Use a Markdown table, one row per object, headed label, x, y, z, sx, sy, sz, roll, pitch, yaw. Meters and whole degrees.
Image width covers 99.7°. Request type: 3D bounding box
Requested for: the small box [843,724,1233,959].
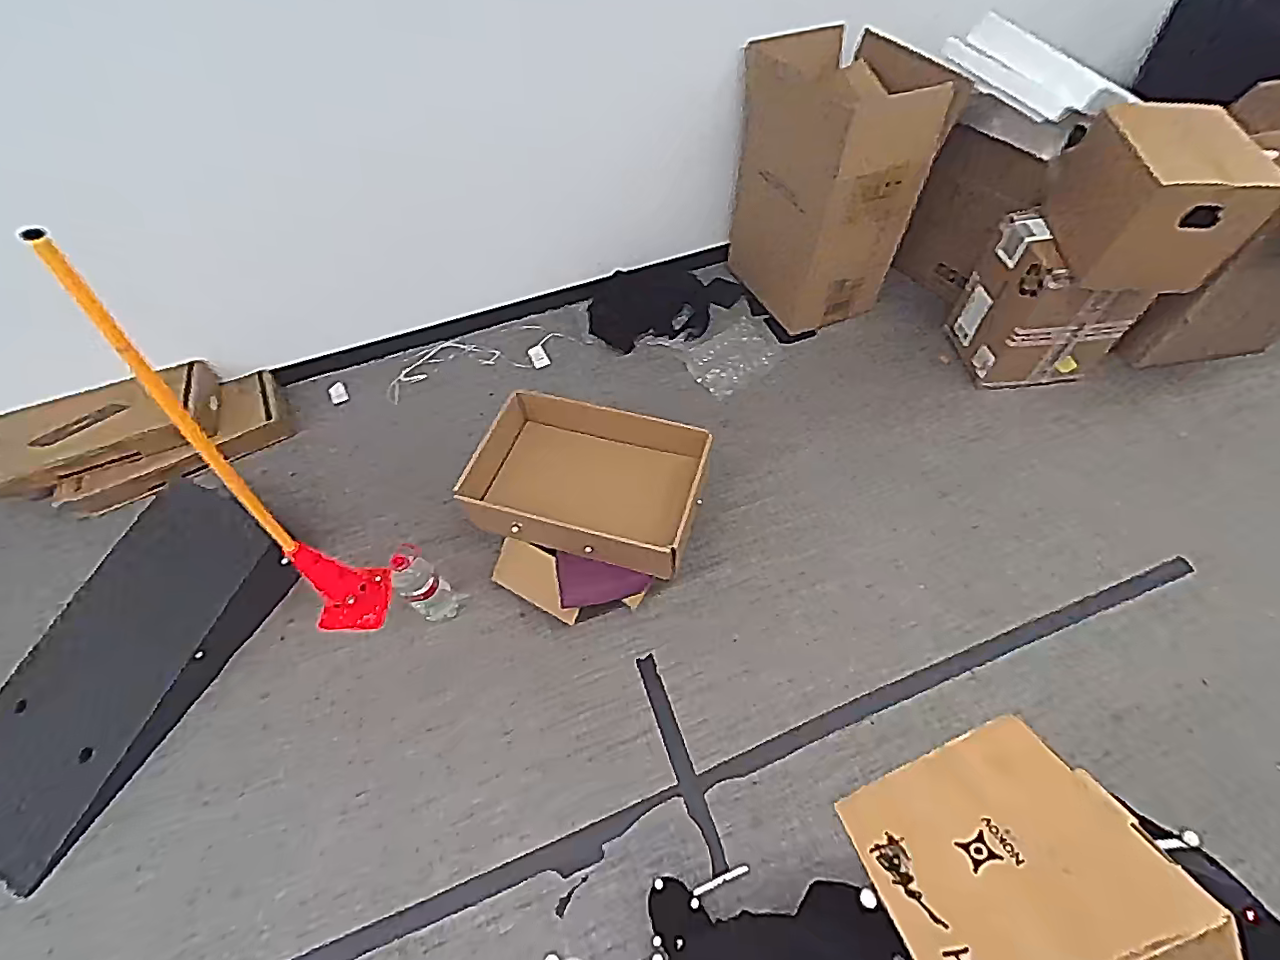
| label | x | y | z | sx | sy | sz | roll | pitch | yaw |
| --- | --- | --- | --- | --- | --- | --- | --- | --- | --- |
| small box | 0.298 | 0.342 | 0.424 | 0.179 | 0.176 | 0.168 | -27 | 18 | 3 |
